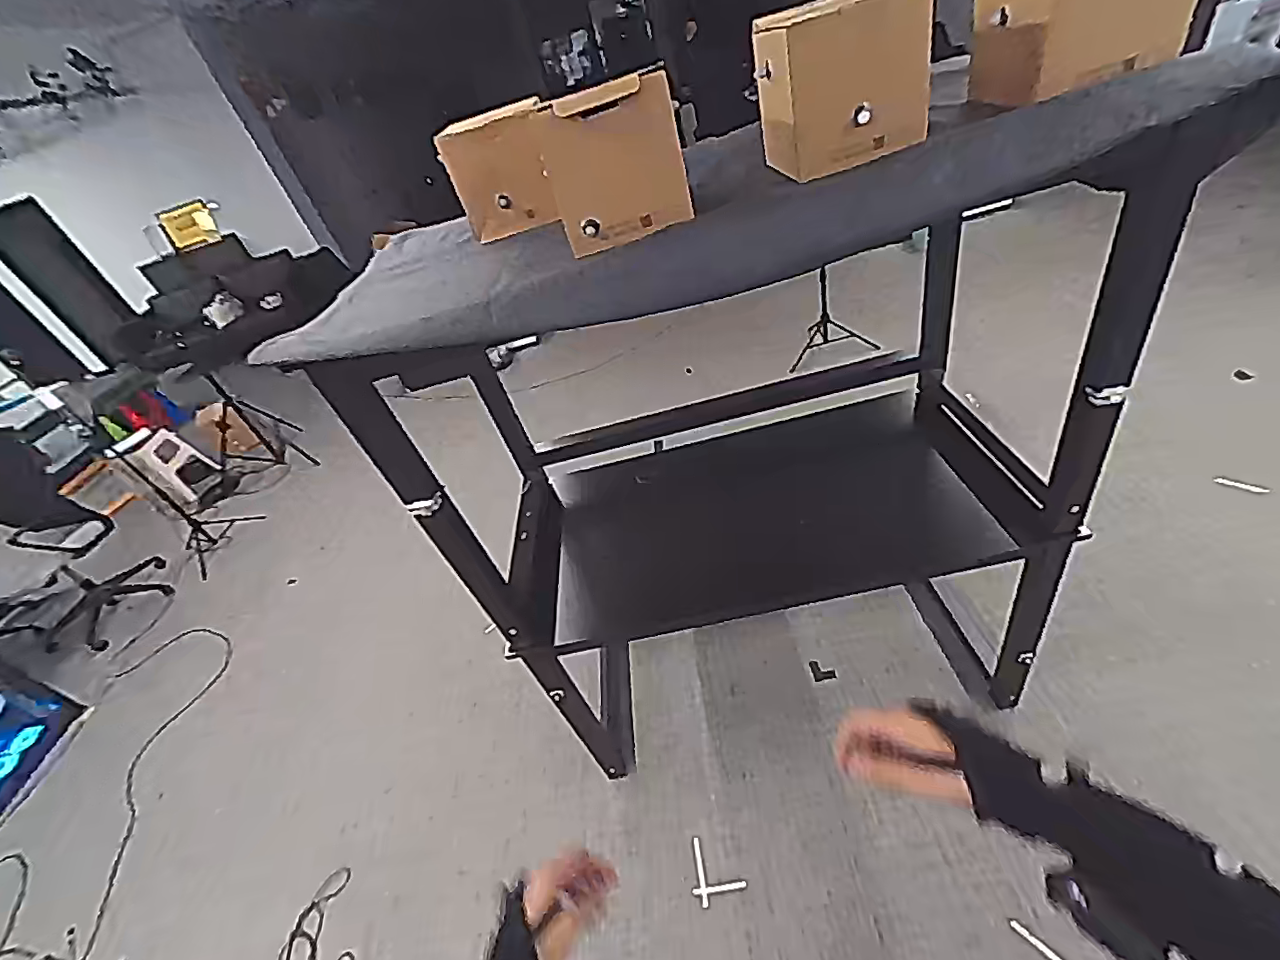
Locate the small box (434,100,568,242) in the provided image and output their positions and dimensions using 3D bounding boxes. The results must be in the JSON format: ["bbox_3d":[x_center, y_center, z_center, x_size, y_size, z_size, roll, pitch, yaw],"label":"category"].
[{"bbox_3d":[-0.231,-0.539,0.947,0.168,0.176,0.179,-15,40,5],"label":"small box"}]

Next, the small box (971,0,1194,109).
[{"bbox_3d":[0.546,-0.590,0.681,0.168,0.176,0.179,-14,37,8],"label":"small box"}]

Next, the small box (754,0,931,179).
[{"bbox_3d":[0.257,-0.518,0.715,0.168,0.176,0.179,-14,38,7],"label":"small box"}]
